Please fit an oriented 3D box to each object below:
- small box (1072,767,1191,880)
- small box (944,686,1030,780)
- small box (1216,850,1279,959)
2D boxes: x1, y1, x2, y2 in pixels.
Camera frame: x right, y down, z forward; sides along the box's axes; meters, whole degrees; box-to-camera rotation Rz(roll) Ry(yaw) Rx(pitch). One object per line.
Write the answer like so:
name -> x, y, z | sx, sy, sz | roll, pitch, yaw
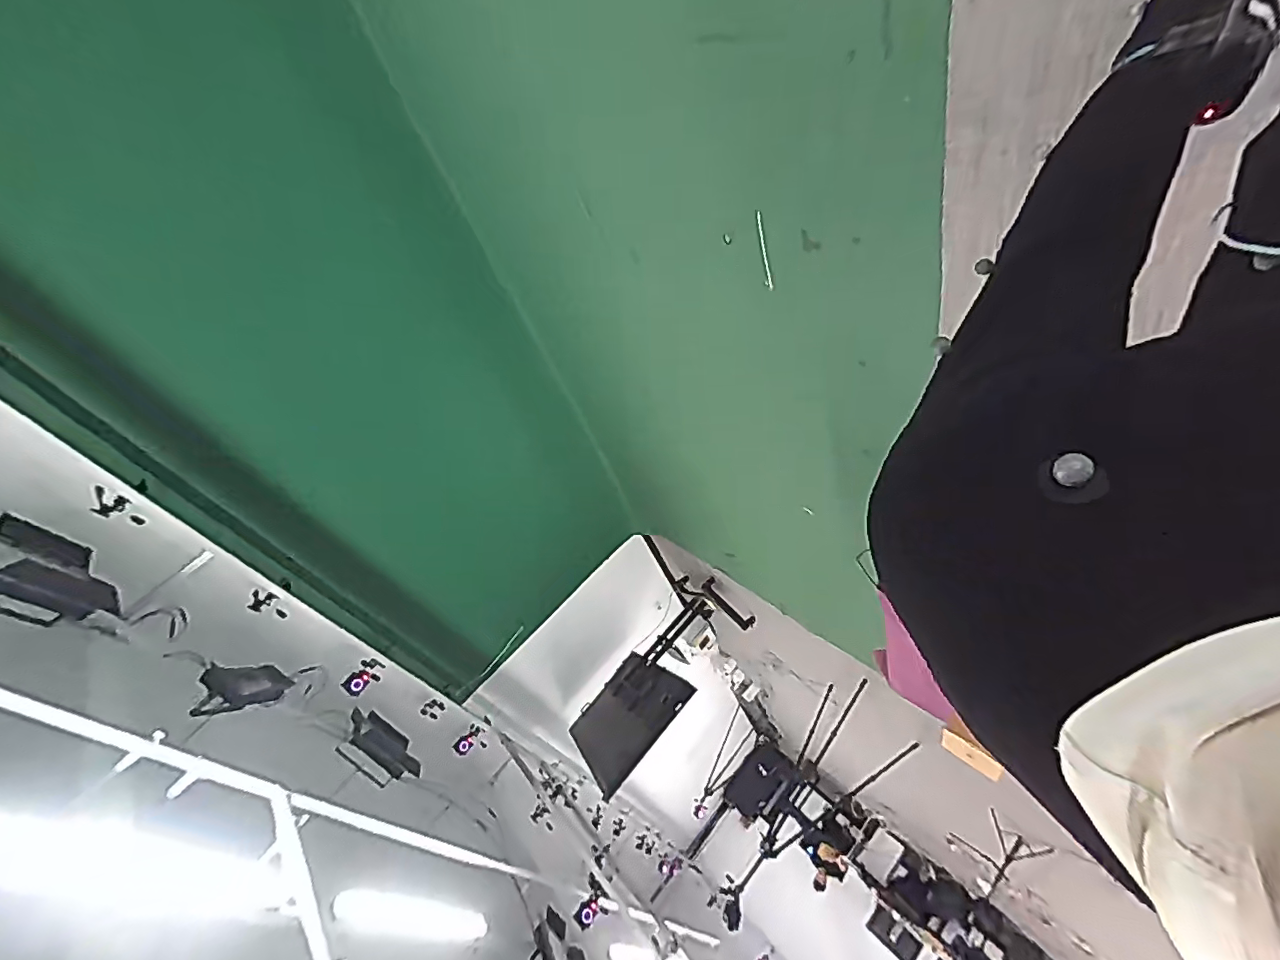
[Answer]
small box -> 1.284, 0.890, 1.421 | 0.179, 0.176, 0.168 | 27, 154, 46
small box -> 1.062, 0.773, 1.659 | 0.168, 0.176, 0.179 | 29, 156, 40
small box -> 1.458, 0.977, 1.215 | 0.168, 0.176, 0.179 | 27, 155, 46
